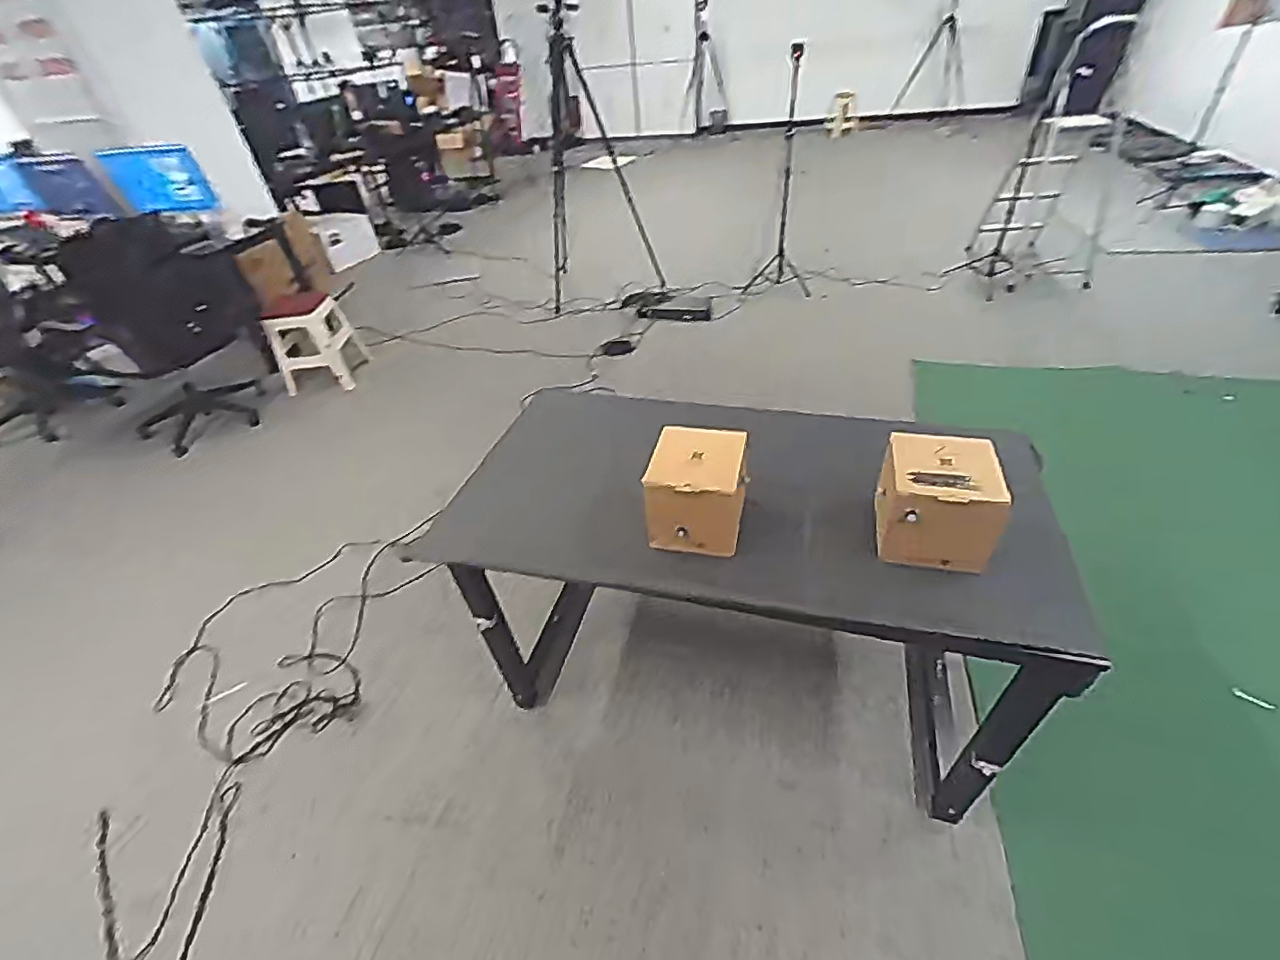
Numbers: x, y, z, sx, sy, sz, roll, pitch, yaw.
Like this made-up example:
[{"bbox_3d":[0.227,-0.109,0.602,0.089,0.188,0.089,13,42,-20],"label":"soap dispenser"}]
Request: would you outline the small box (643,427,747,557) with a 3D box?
[{"bbox_3d":[0.109,0.020,1.044,0.168,0.176,0.179,7,42,14],"label":"small box"}]
